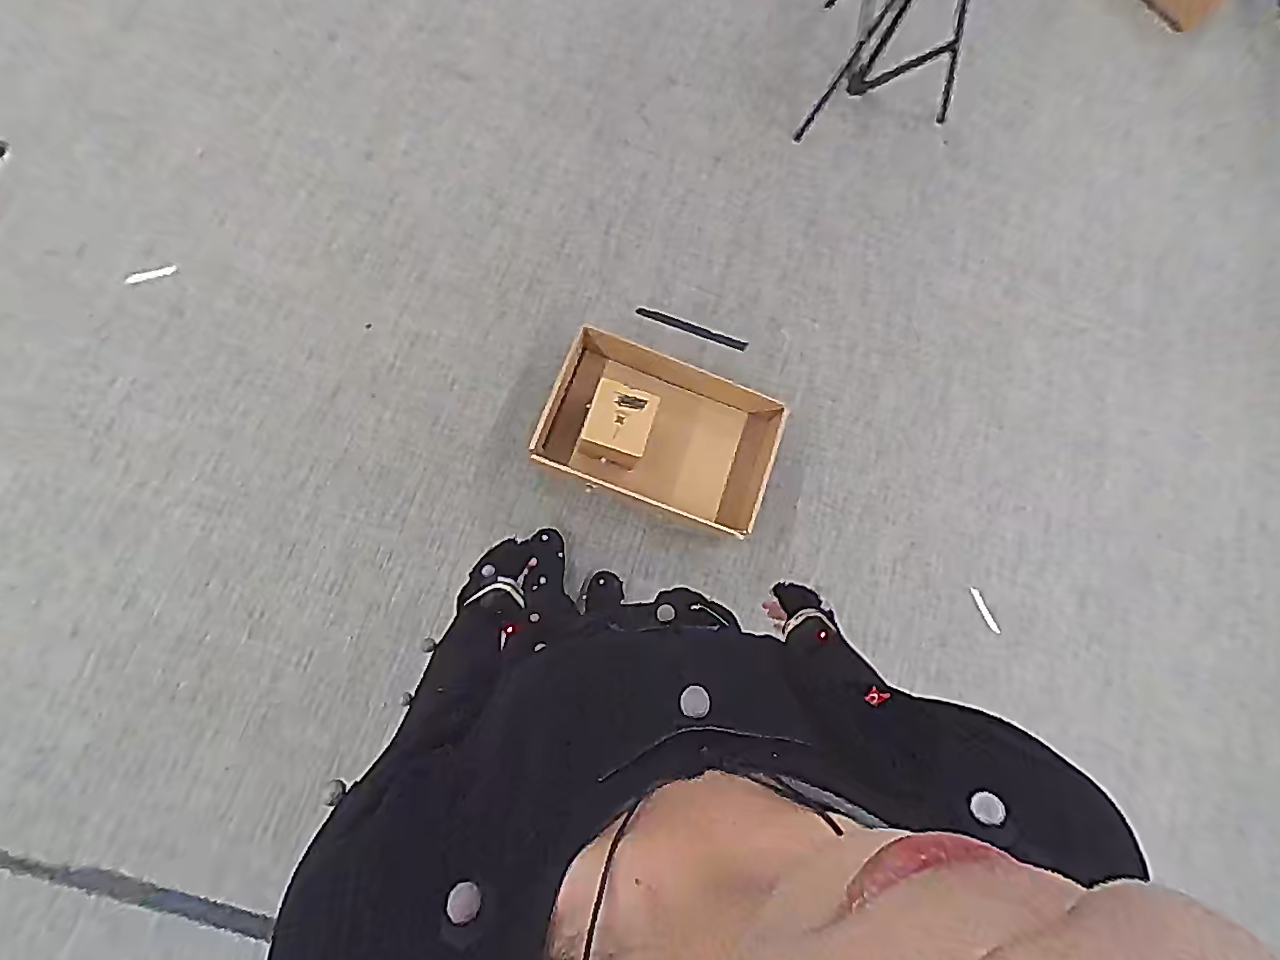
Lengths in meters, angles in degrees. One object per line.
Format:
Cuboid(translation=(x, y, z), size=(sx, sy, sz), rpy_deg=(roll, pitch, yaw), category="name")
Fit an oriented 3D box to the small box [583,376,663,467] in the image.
Cuboid(translation=(-0.053, -0.152, 1.465), size=(0.168, 0.176, 0.179), rpy_deg=(18, 78, -5), category="small box")
